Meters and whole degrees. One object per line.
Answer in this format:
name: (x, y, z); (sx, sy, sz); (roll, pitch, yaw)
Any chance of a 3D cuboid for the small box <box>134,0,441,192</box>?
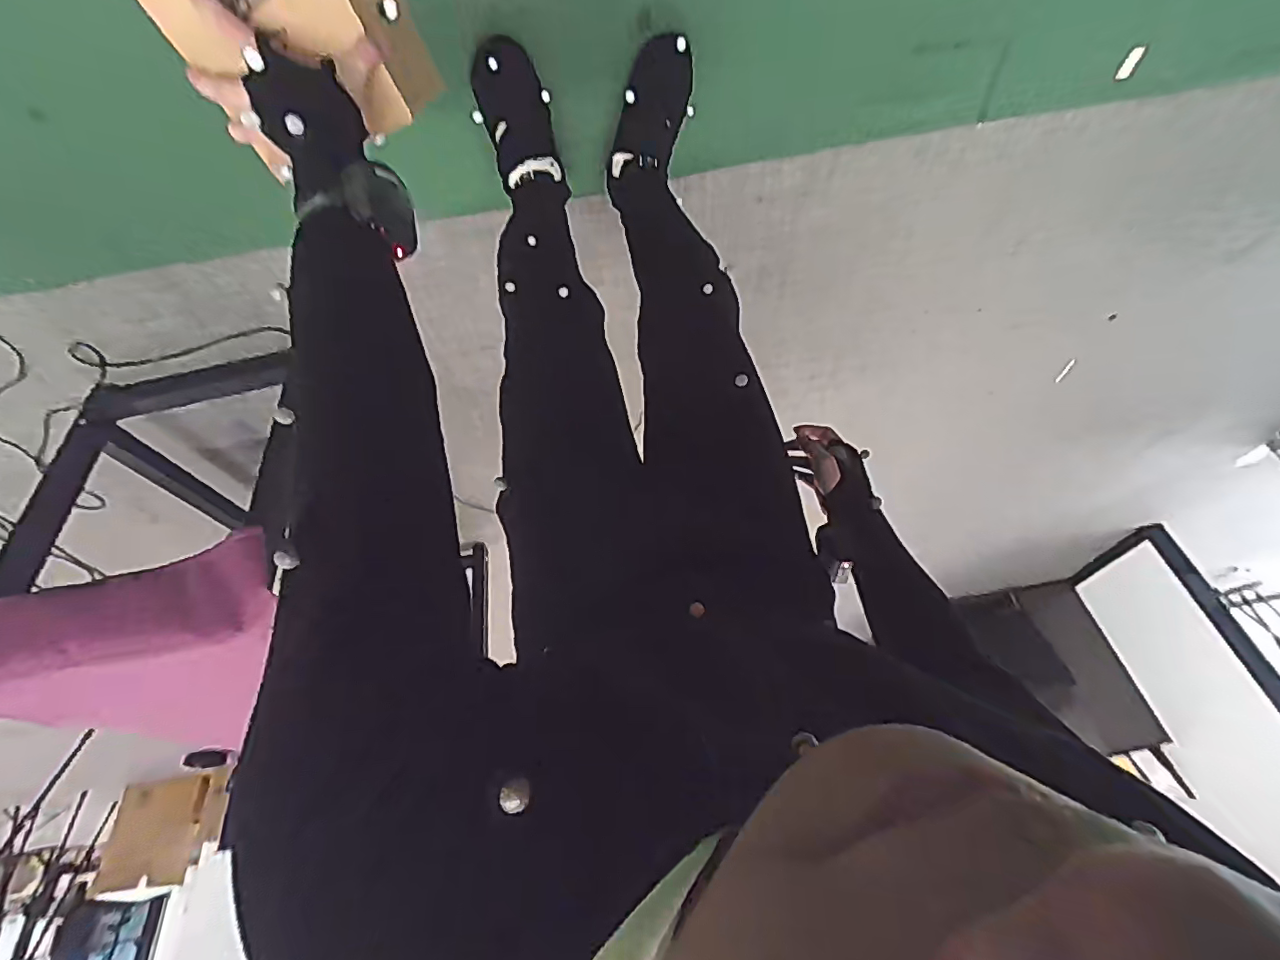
small box: (-0.330, -0.433, 0.547); (0.168, 0.176, 0.179); (-16, 135, 11)
